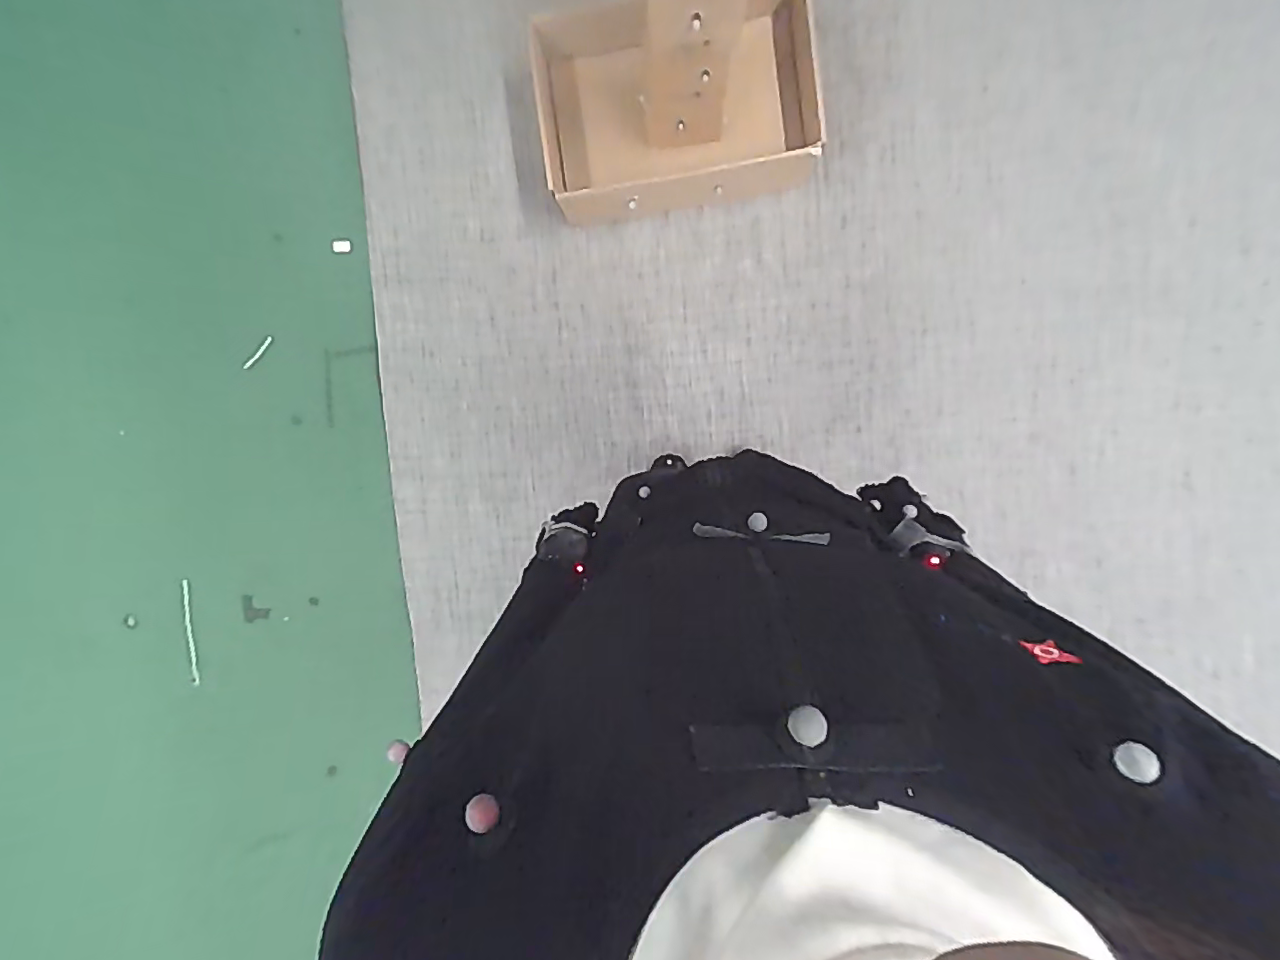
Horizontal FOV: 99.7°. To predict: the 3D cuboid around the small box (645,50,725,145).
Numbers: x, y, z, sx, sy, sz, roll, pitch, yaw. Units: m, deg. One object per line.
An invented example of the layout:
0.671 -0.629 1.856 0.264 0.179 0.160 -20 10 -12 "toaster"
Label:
0.106 -0.908 1.252 0.179 0.176 0.168 0 94 7 "small box"
